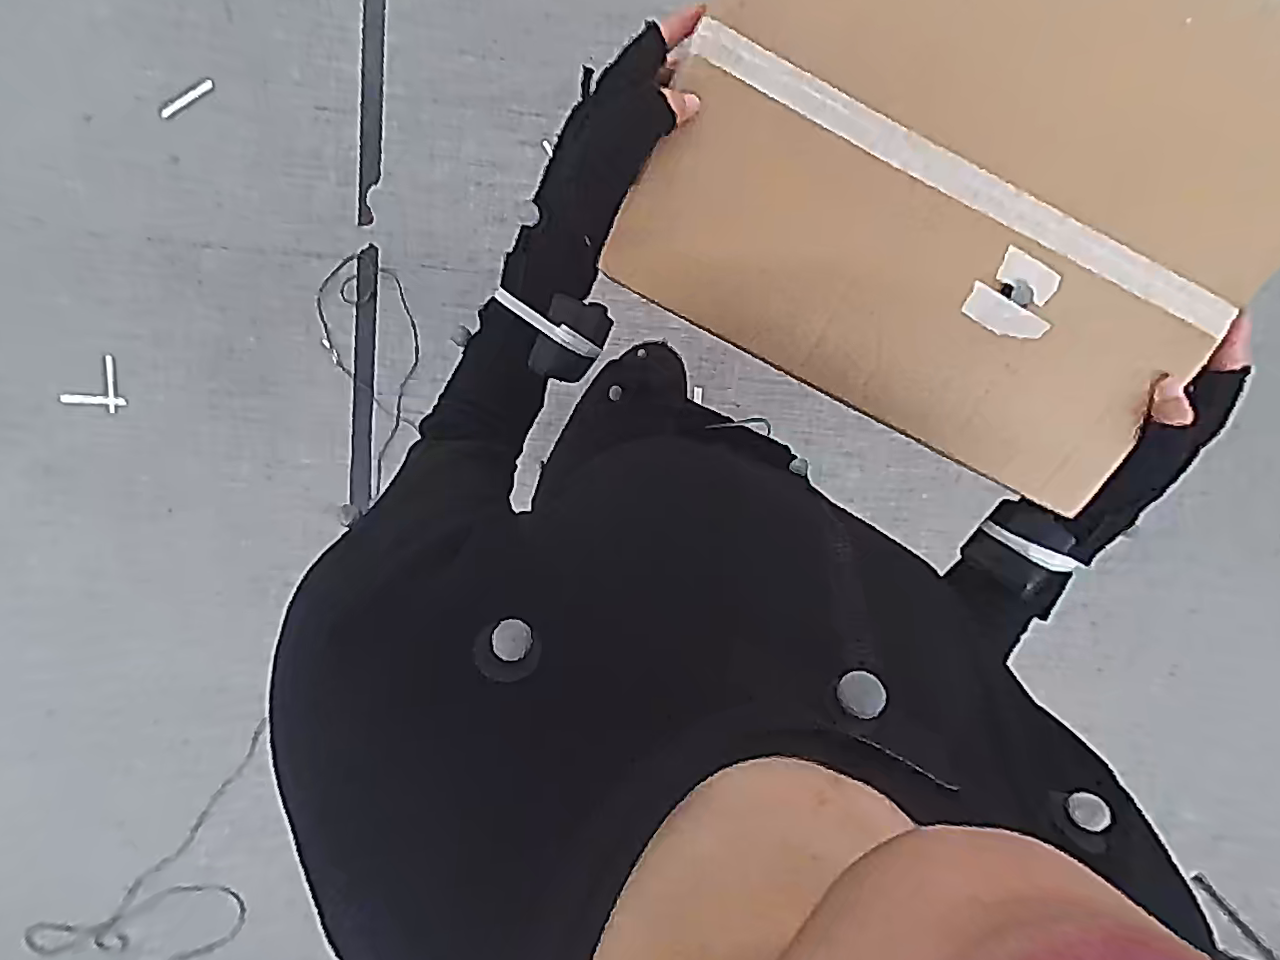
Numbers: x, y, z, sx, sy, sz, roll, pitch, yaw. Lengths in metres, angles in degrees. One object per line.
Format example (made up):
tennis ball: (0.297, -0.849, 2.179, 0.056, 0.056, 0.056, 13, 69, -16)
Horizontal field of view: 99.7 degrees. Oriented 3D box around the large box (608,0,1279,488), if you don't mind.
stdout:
large box: (0.225, -0.248, 0.511, 0.408, 0.320, 0.320, 27, 108, -4)
